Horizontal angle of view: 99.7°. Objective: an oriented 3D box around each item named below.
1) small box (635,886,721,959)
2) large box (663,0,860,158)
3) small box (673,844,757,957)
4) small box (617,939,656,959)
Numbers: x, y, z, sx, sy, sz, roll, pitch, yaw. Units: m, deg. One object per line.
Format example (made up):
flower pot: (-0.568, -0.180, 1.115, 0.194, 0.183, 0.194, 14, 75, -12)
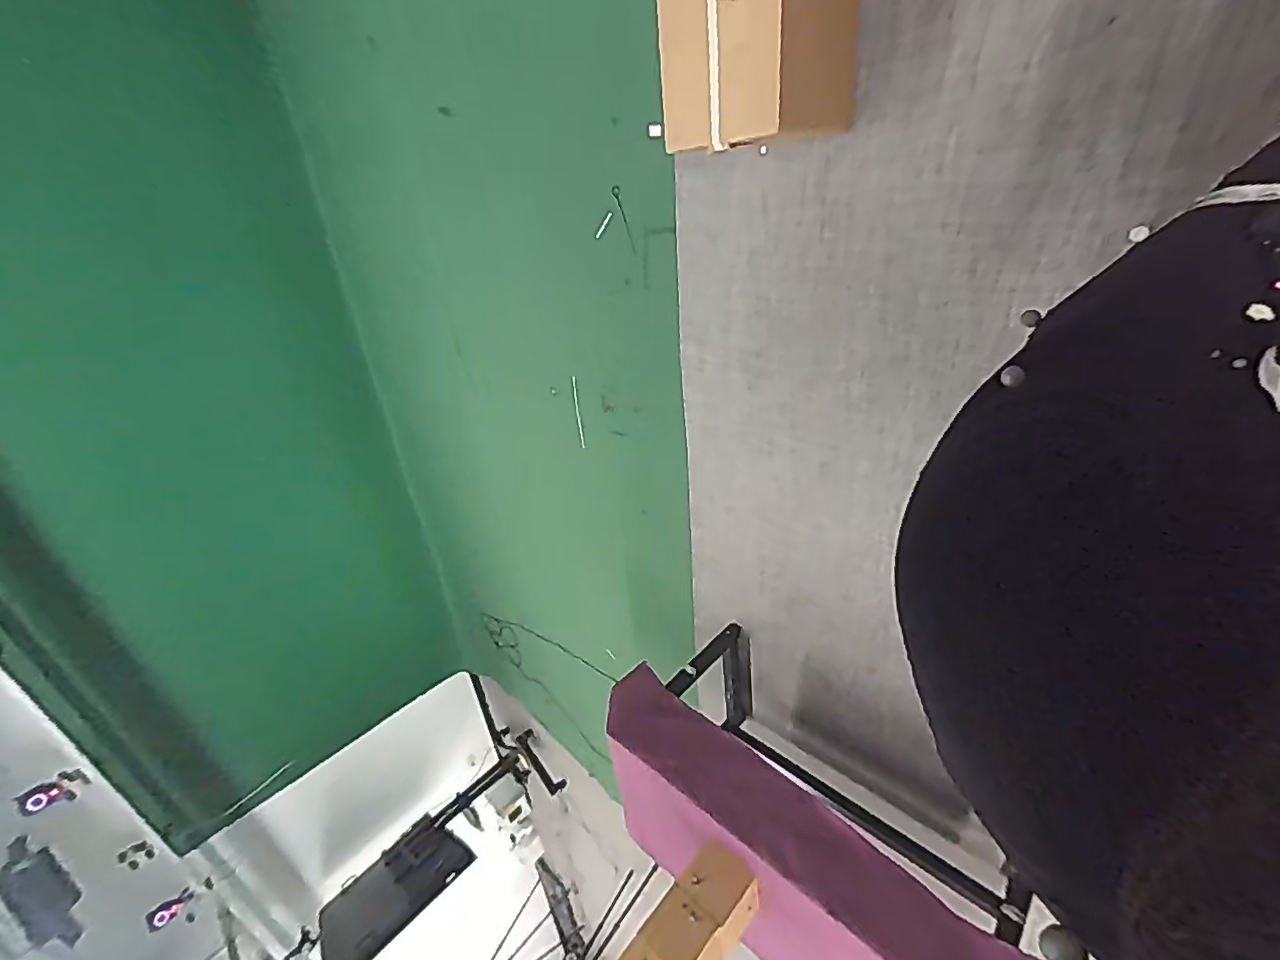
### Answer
small box: (0.110, 1.285, 1.488, 0.168, 0.176, 0.179, 17, 125, 42)
large box: (0.272, -0.970, 1.204, 0.320, 0.320, 0.408, 21, 127, 41)
small box: (0.222, 1.217, 1.585, 0.179, 0.176, 0.168, 18, 127, 41)
small box: (0.001, 1.355, 1.390, 0.168, 0.176, 0.179, 14, 123, 43)
